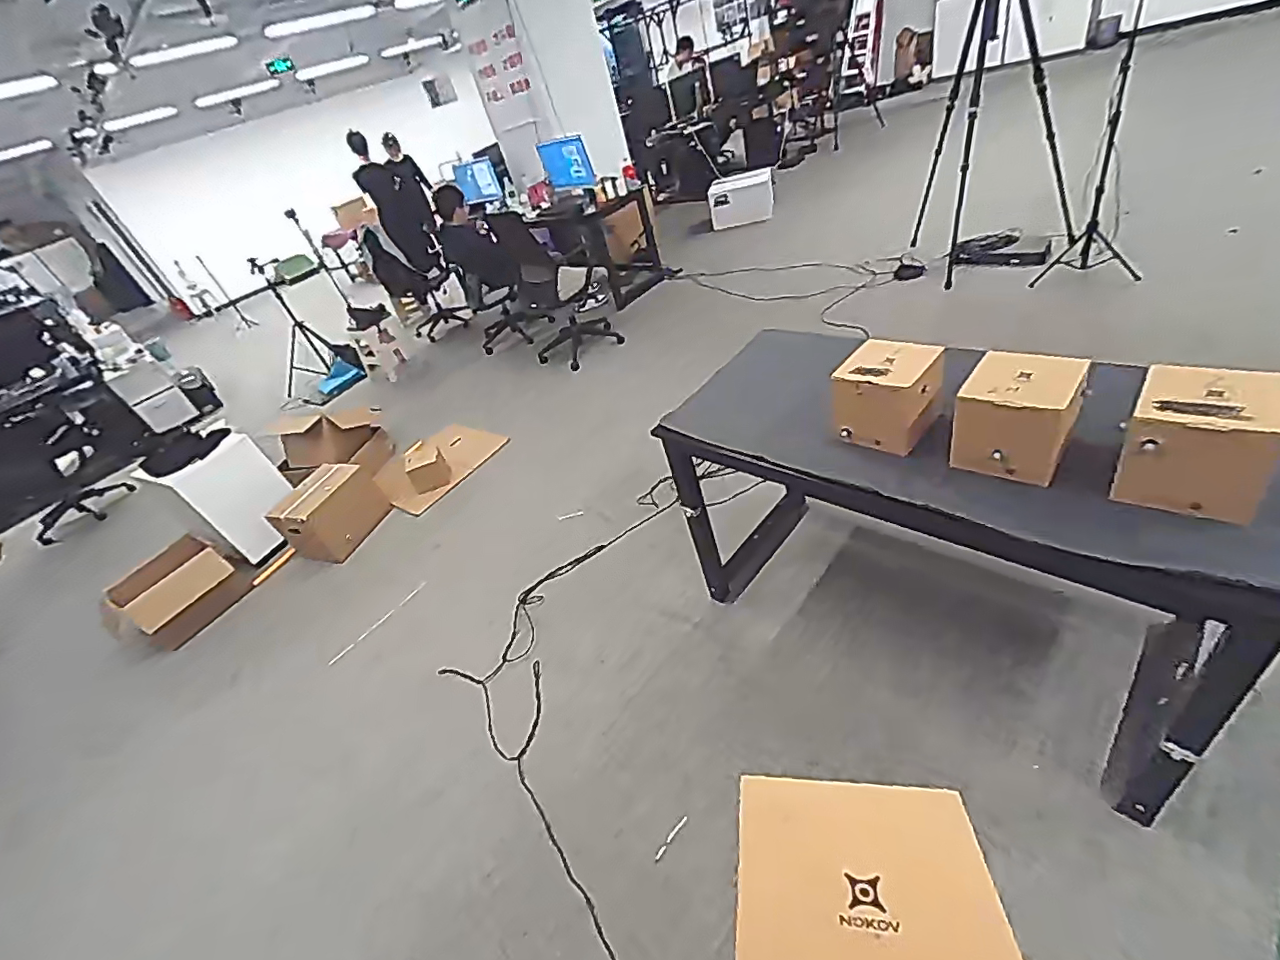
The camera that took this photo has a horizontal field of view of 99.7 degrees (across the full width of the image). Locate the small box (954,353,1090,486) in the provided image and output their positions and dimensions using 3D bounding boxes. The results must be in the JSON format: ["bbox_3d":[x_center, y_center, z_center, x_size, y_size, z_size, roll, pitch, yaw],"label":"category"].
[{"bbox_3d":[0.712,-0.118,1.022,0.168,0.176,0.179,19,51,41],"label":"small box"}]

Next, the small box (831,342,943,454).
[{"bbox_3d":[0.540,-0.180,1.182,0.168,0.176,0.179,22,52,42],"label":"small box"}]

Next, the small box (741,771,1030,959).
[{"bbox_3d":[0.156,0.344,0.377,0.168,0.176,0.179,-2,21,12],"label":"small box"}]
